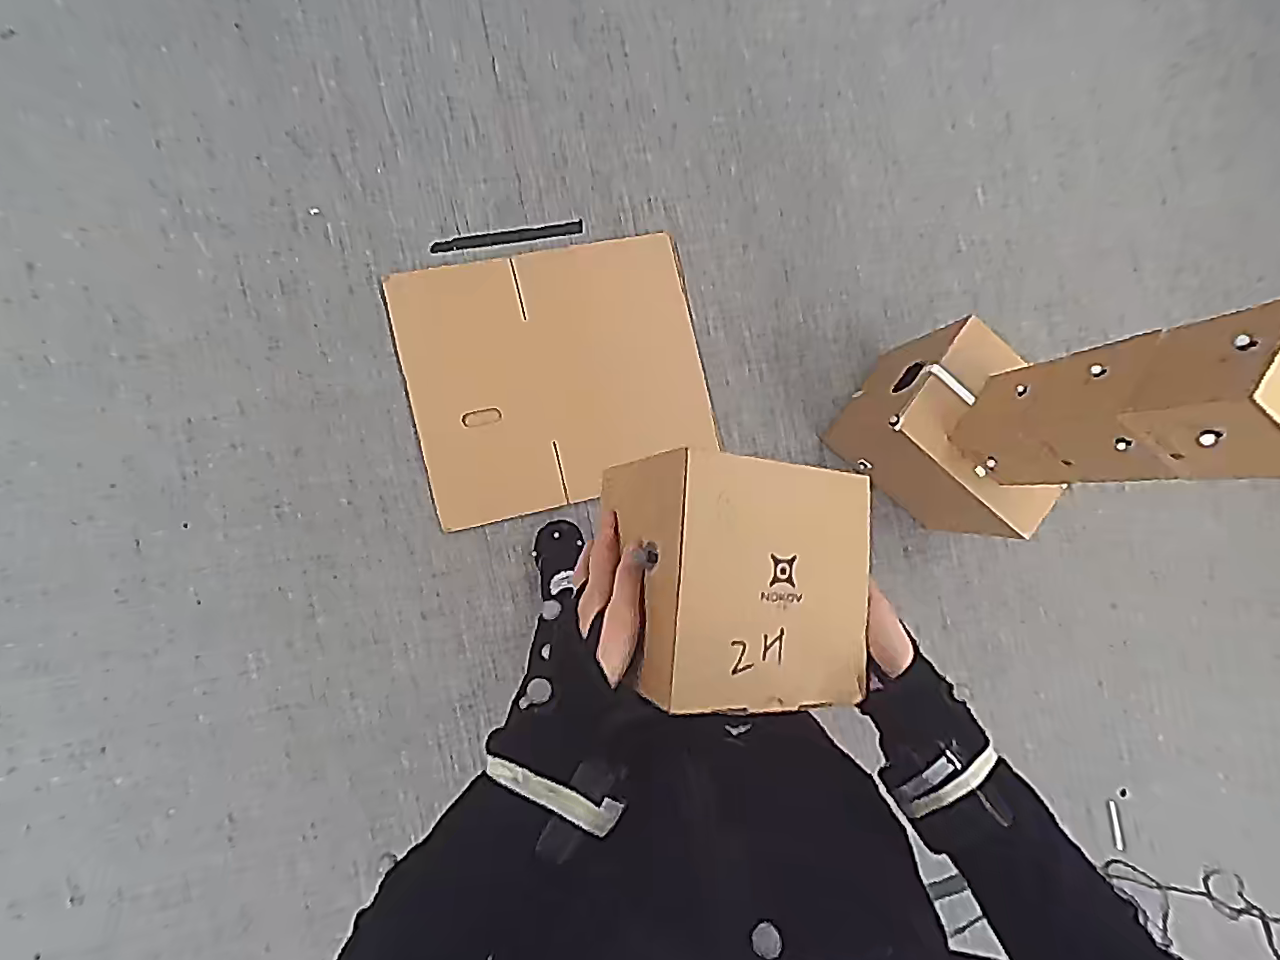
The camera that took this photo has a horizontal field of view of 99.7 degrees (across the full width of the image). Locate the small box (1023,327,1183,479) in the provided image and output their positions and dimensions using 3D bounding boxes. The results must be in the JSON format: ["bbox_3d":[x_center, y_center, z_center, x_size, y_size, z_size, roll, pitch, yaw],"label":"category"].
[{"bbox_3d":[0.799,-0.118,0.907,0.168,0.176,0.179,38,82,-6],"label":"small box"}]

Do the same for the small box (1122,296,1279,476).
[{"bbox_3d":[0.828,-0.119,0.747,0.168,0.176,0.179,37,82,-6],"label":"small box"}]

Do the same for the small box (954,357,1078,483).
[{"bbox_3d":[0.770,-0.110,1.068,0.168,0.176,0.179,38,83,-7],"label":"small box"}]

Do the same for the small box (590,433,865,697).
[{"bbox_3d":[0.064,0.071,0.456,0.168,0.176,0.179,8,81,-22],"label":"small box"}]
